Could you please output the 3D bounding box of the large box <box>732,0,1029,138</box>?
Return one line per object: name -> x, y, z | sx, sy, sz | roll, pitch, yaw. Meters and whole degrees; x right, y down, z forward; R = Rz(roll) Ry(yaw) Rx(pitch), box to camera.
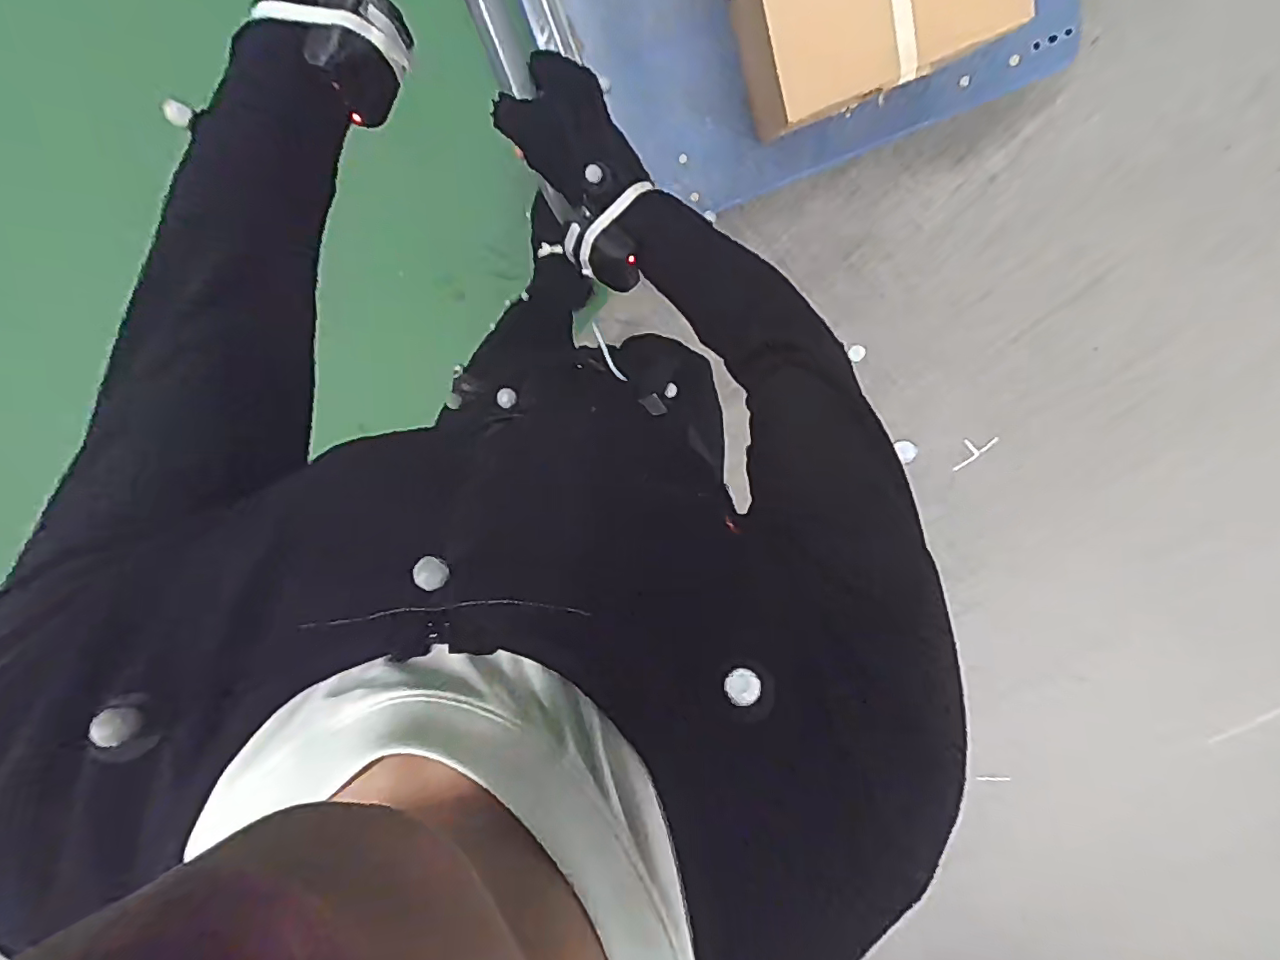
large box -> 0.292, -0.781, 0.769 | 0.320, 0.320, 0.408 | -16, 114, 12
